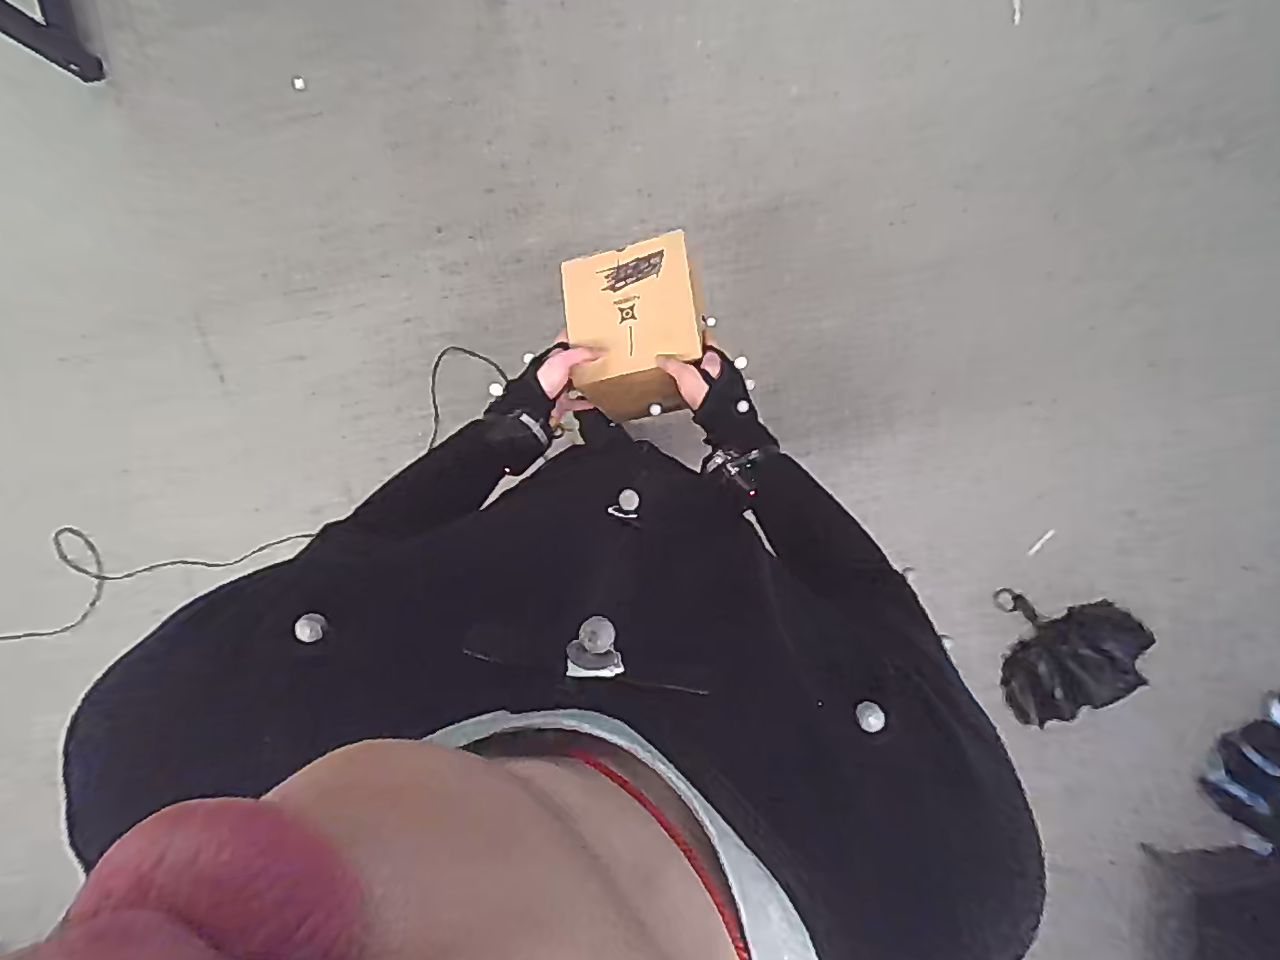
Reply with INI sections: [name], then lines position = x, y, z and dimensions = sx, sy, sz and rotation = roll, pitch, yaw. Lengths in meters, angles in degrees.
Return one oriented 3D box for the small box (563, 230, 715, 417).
[small box]
position = 0.004, -0.205, 0.754
dimensions = 0.168, 0.176, 0.179
rotation = -9, 78, 16
